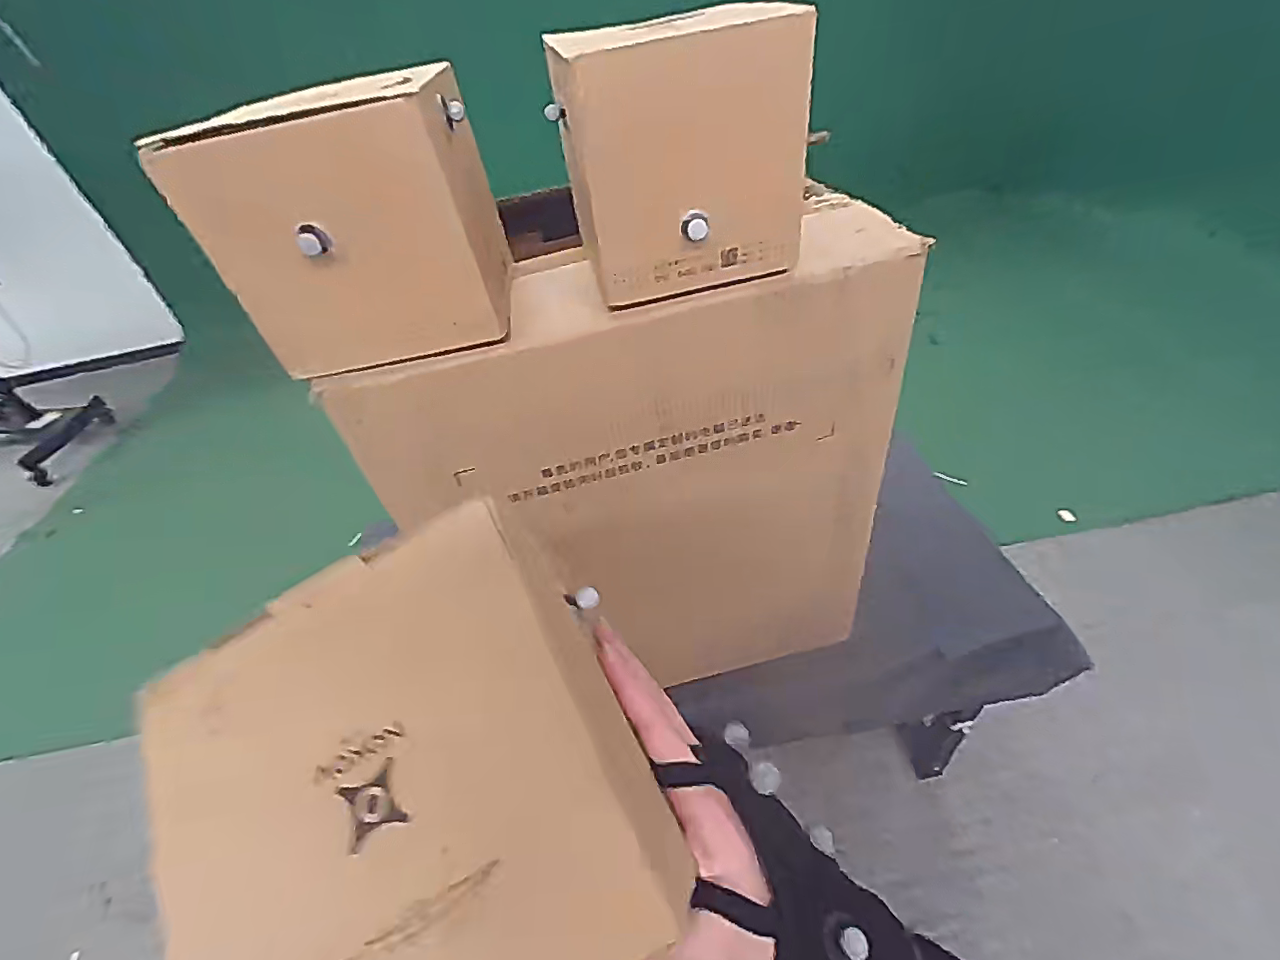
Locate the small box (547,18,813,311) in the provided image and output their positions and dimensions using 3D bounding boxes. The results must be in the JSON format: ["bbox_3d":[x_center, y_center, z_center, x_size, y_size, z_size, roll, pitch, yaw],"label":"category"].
[{"bbox_3d":[0.026,-0.266,0.456,0.168,0.176,0.179,-14,43,-4],"label":"small box"}]

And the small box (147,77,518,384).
[{"bbox_3d":[-0.213,-0.198,0.439,0.179,0.176,0.168,-13,43,1],"label":"small box"}]

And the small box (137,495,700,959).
[{"bbox_3d":[-0.083,0.141,0.267,0.168,0.176,0.179,-30,68,-3],"label":"small box"}]
